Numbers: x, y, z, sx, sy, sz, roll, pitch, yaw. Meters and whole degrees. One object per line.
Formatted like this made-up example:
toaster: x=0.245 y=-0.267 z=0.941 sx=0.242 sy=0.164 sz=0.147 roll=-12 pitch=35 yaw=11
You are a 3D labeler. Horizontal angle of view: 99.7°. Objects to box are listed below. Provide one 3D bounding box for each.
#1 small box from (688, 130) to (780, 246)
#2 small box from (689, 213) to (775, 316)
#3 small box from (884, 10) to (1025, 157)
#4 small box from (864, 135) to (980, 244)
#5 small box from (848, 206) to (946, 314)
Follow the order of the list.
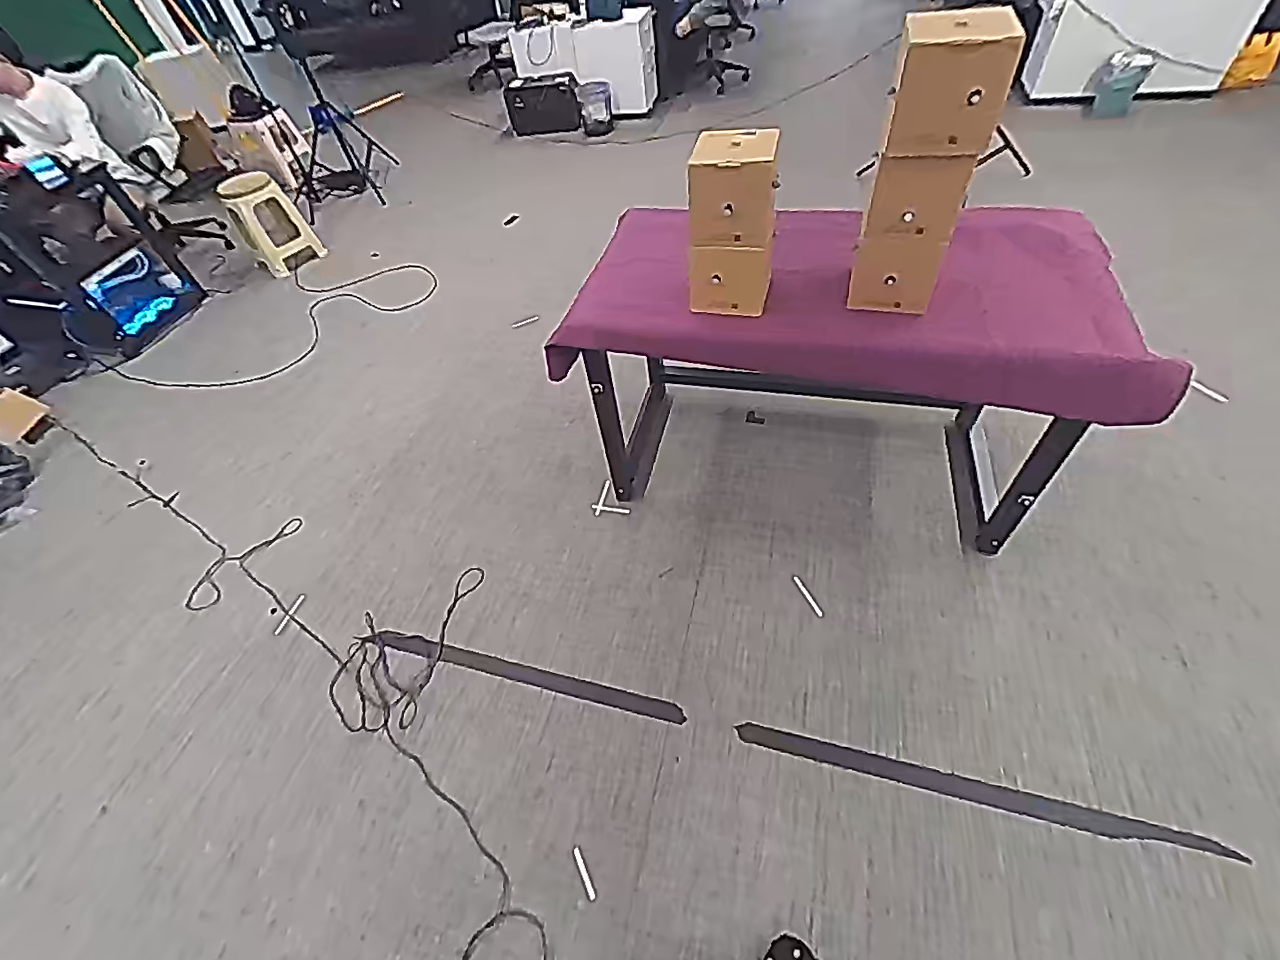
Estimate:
small box: x=0.200 y=-0.612 z=1.143 sx=0.168 sy=0.176 sz=0.179 roll=7 pitch=52 yaw=13
small box: x=0.218 y=-0.502 z=1.264 sx=0.168 sy=0.176 sz=0.179 roll=9 pitch=52 yaw=15
small box: x=0.532 y=-0.683 z=0.941 sx=0.168 sy=0.176 sz=0.179 roll=8 pitch=52 yaw=13
small box: x=0.554 y=-0.598 z=1.079 sx=0.168 sy=0.176 sz=0.179 roll=10 pitch=53 yaw=16
small box: x=0.568 y=-0.492 z=1.203 sx=0.168 sy=0.176 sz=0.179 roll=11 pitch=53 yaw=16
